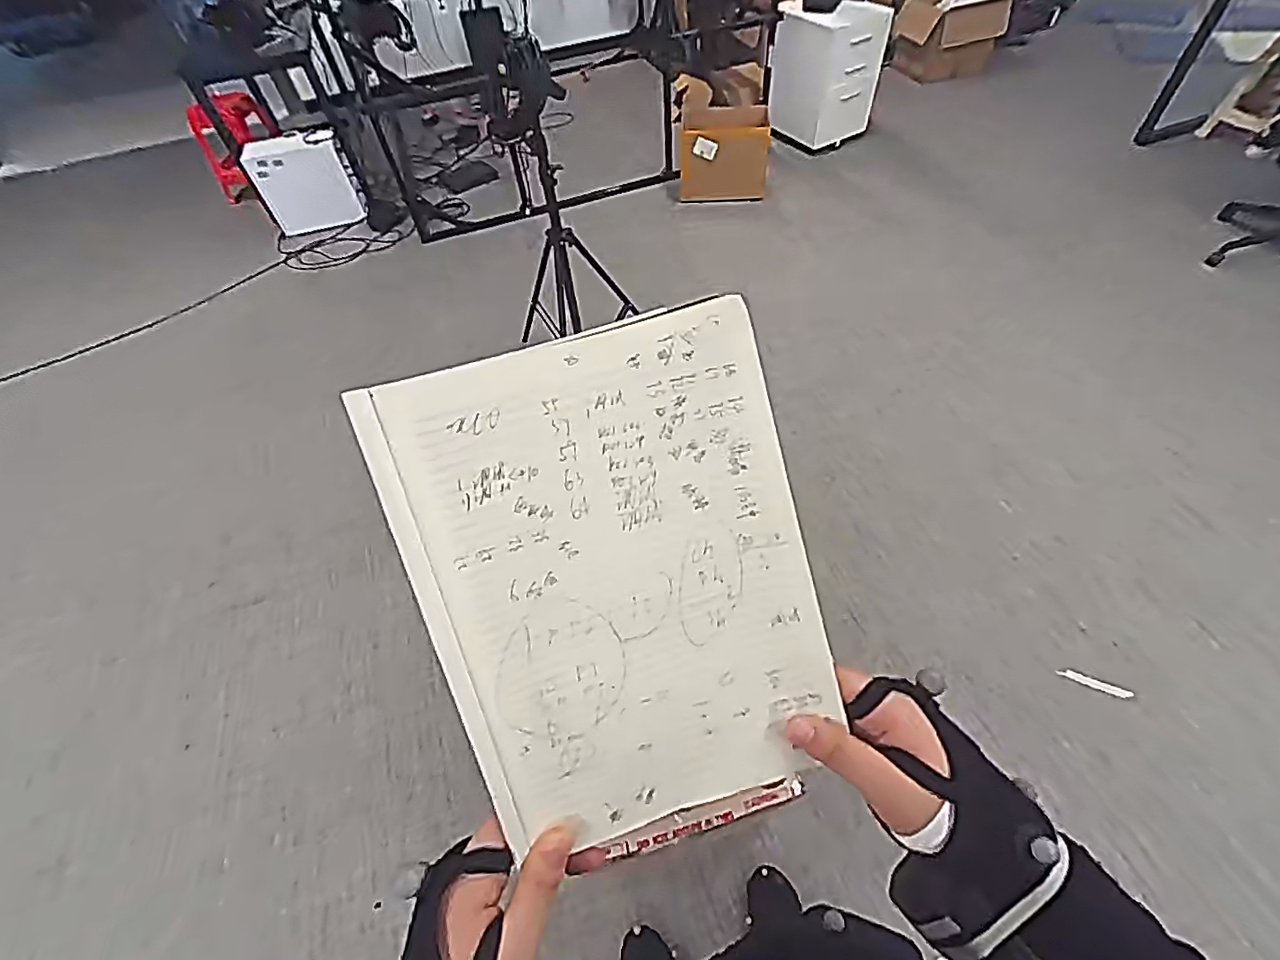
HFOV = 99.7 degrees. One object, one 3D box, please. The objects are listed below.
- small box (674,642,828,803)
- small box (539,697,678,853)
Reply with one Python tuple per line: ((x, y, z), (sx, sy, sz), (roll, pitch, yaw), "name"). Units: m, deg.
((0.161, 0.386, 0.856), (0.179, 0.176, 0.168), (-19, 55, -10), "small box")
((-0.044, 0.451, 0.825), (0.179, 0.176, 0.168), (-13, 55, -3), "small box")
